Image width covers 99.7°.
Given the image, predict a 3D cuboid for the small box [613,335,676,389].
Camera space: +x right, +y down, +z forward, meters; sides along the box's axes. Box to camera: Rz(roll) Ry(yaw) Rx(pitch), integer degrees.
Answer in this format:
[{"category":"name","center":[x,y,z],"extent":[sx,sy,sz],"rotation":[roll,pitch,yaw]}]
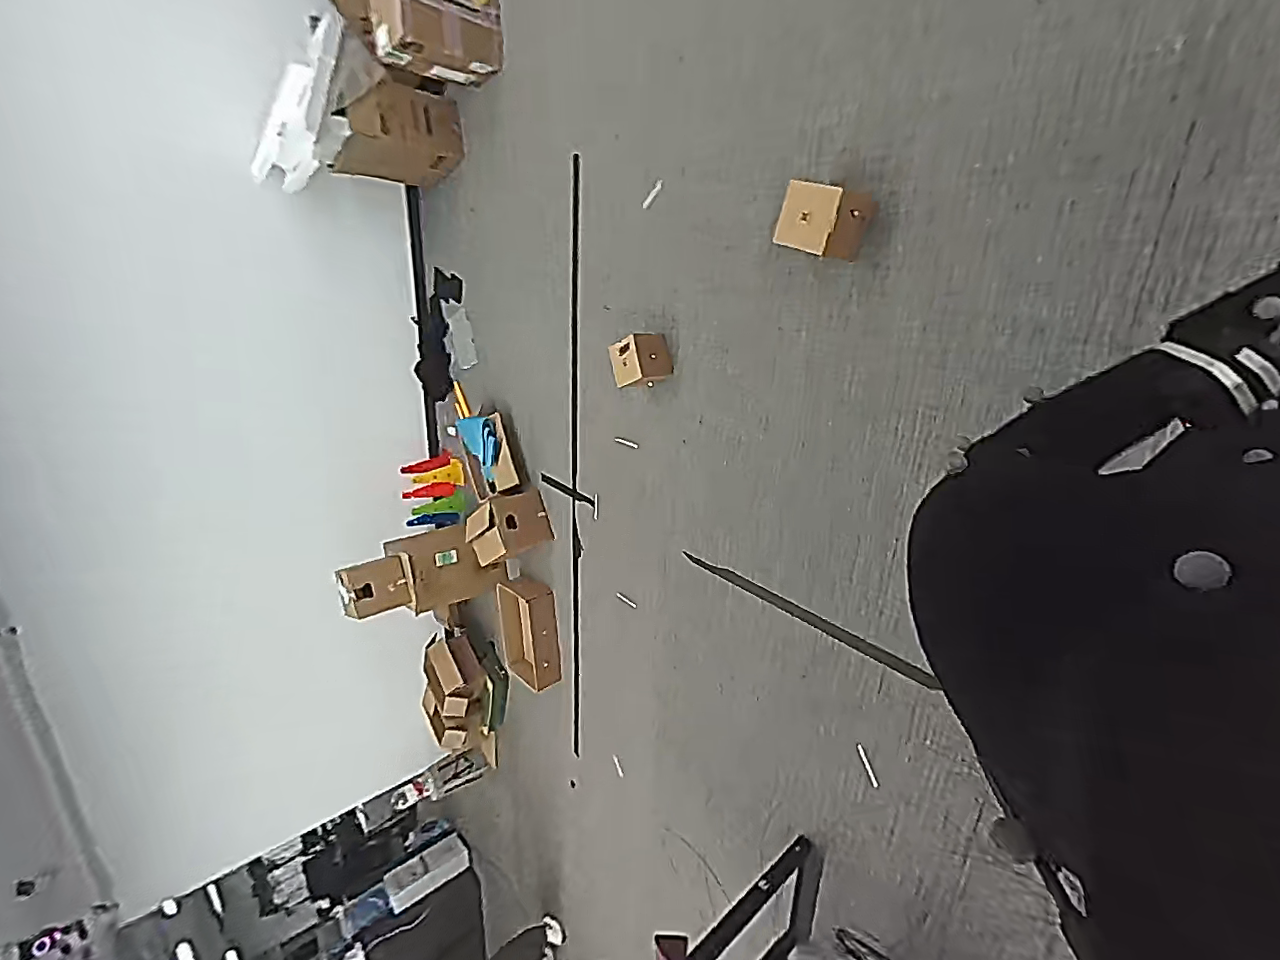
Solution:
[{"category":"small box","center":[0.021,-0.474,2.173],"extent":[0.168,0.176,0.179],"rotation":[-11,92,52]}]

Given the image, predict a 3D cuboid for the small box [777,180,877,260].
[{"category":"small box","center":[0.521,-0.718,1.501],"extent":[0.179,0.176,0.168],"rotation":[38,126,40]}]
